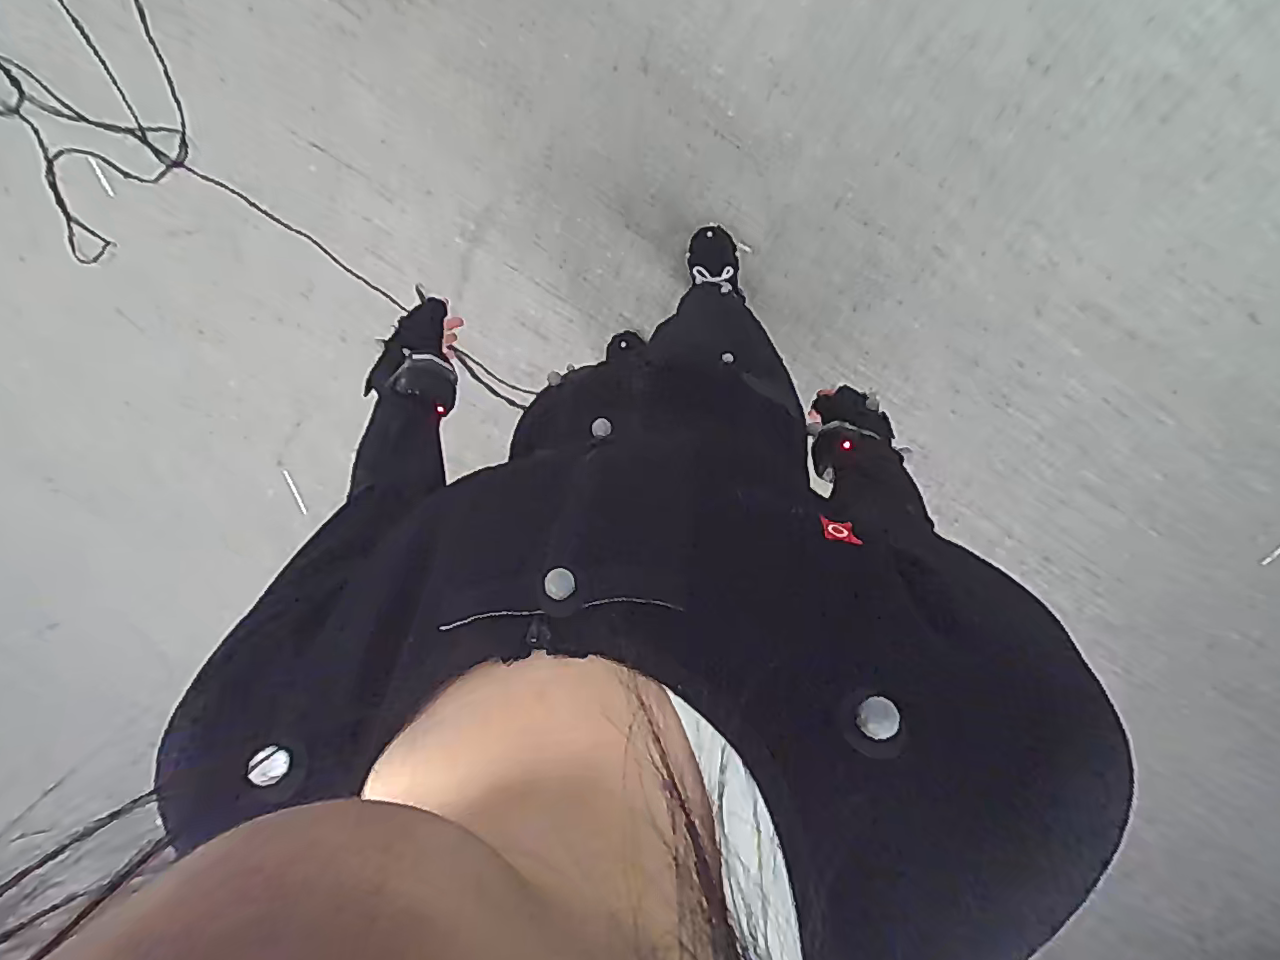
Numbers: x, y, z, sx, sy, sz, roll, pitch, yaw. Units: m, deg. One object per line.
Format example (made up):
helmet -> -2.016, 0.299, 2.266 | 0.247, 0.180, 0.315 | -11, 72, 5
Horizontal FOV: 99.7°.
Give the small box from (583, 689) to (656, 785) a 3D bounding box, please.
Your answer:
small box -> -0.058, 0.803, 1.701 | 0.168, 0.176, 0.179 | 28, 107, -8
